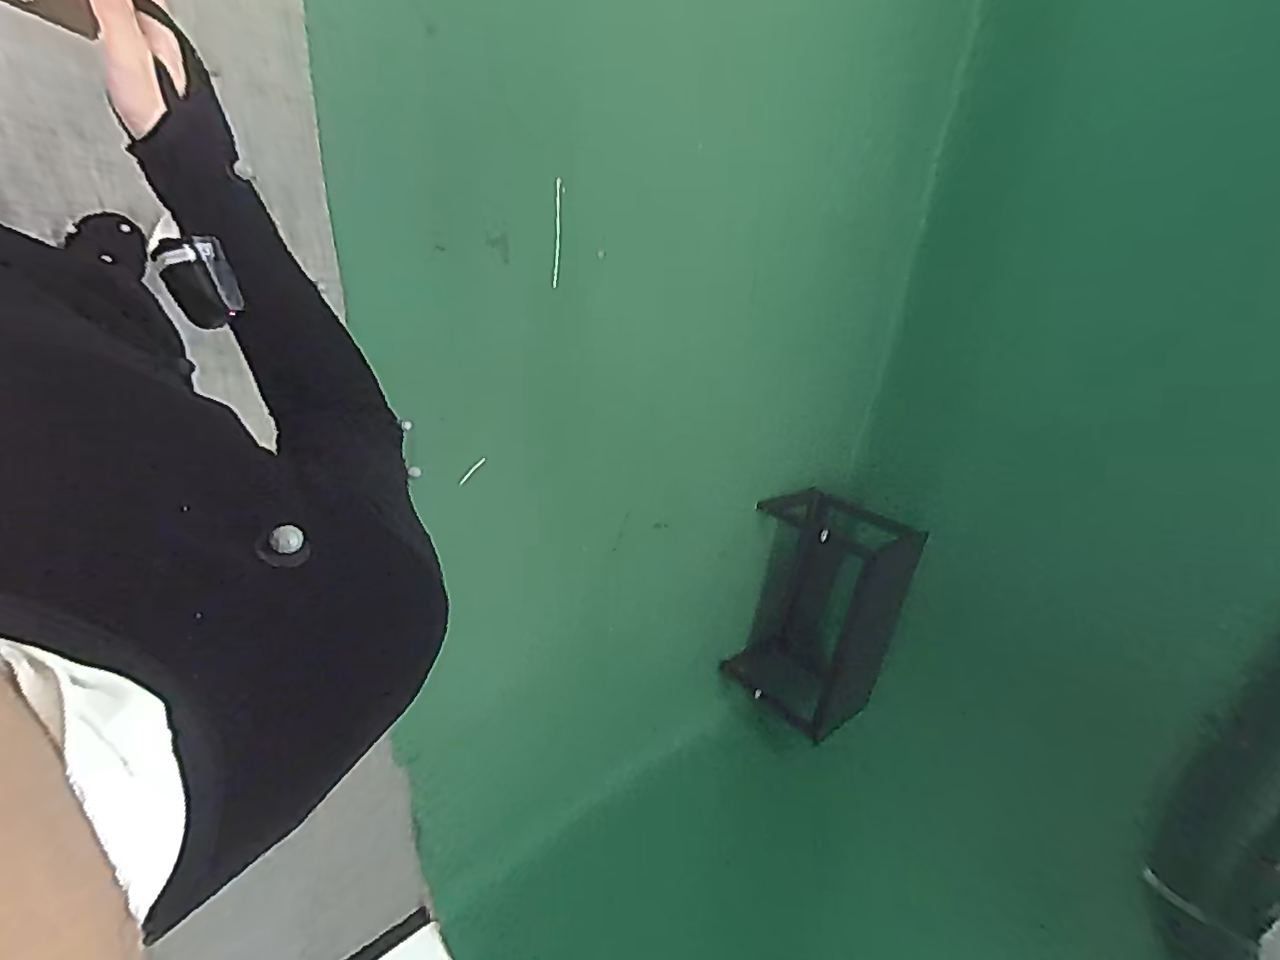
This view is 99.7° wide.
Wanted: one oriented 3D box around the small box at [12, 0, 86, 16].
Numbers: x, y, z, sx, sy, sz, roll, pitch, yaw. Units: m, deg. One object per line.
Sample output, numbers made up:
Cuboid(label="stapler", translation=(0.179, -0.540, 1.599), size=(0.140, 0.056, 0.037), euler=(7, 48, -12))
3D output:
Cuboid(label="small box", translation=(-0.455, -0.429, 0.326), size=(0.179, 0.176, 0.168), euler=(-1, 112, -49))
